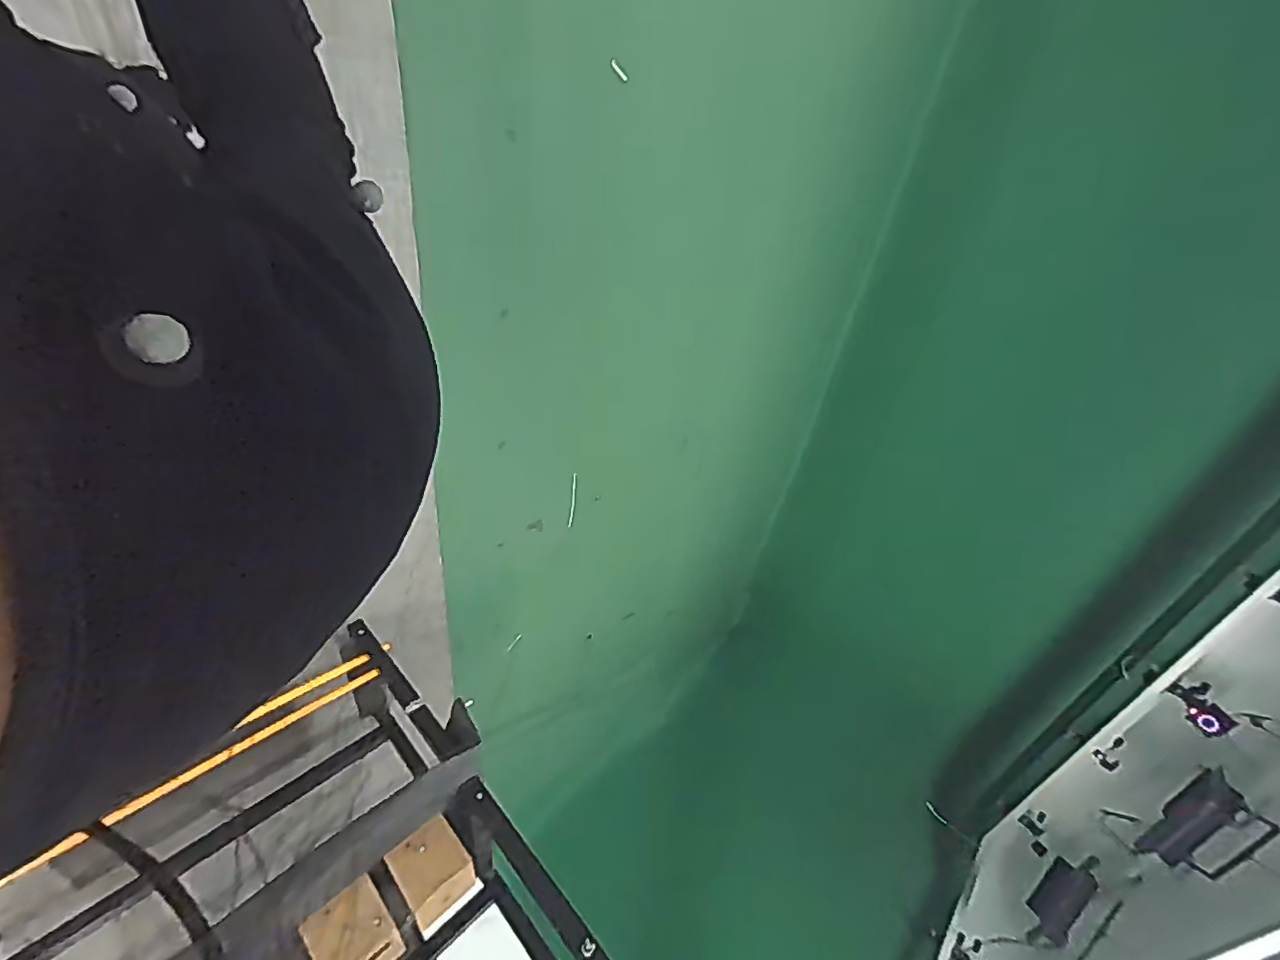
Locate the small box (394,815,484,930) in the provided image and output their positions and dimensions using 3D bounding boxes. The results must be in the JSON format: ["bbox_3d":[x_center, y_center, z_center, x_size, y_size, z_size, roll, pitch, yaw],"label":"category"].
[{"bbox_3d":[-0.551,1.073,1.489,0.168,0.176,0.179,-28,139,-38],"label":"small box"}]
